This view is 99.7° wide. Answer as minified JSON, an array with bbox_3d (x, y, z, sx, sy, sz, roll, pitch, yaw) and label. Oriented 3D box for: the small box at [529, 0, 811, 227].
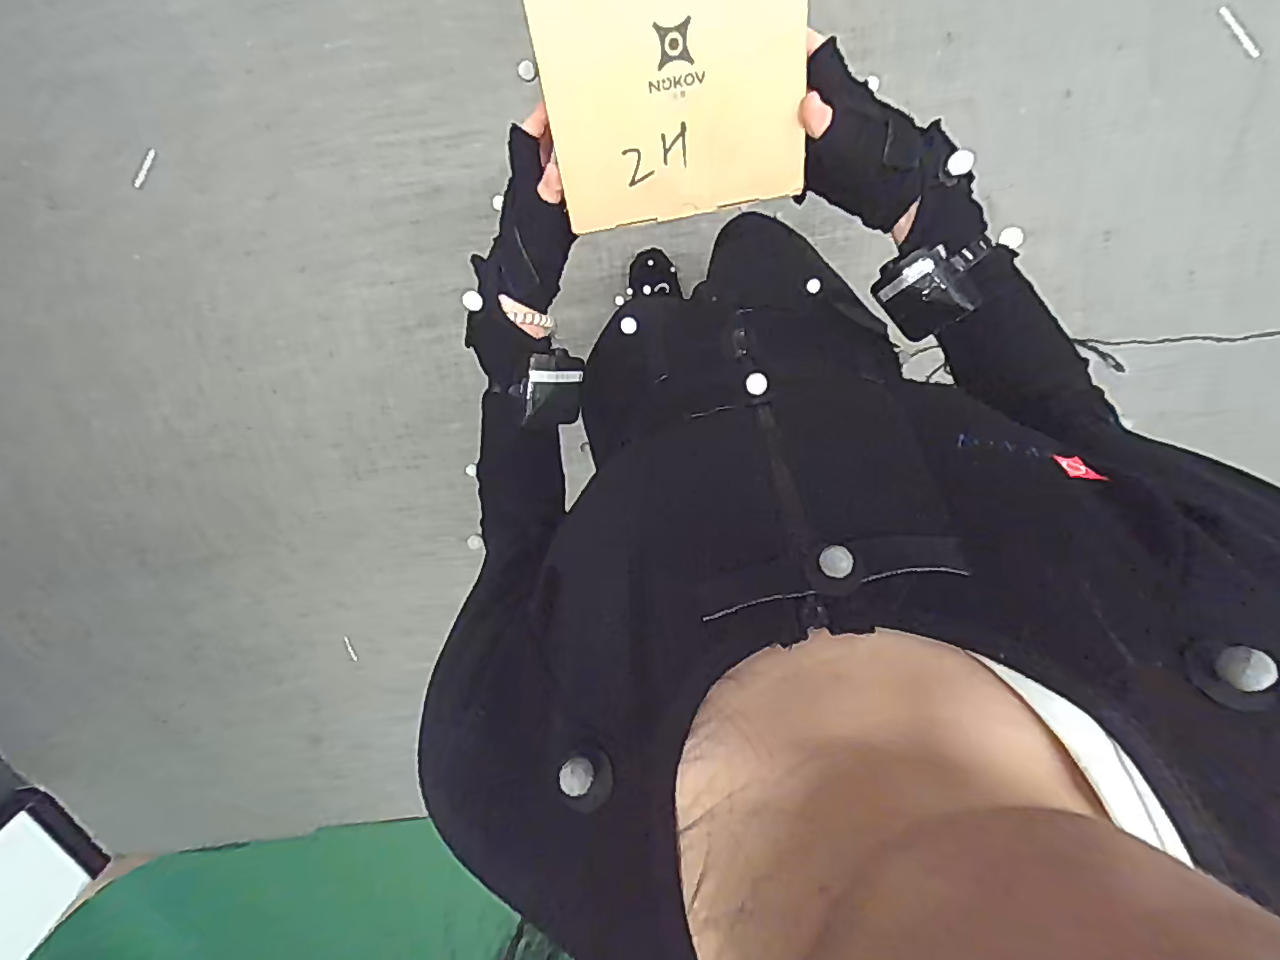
[{"bbox_3d":[0.014,-0.301,0.387,0.168,0.176,0.179,-9,126,1],"label":"small box"}]
